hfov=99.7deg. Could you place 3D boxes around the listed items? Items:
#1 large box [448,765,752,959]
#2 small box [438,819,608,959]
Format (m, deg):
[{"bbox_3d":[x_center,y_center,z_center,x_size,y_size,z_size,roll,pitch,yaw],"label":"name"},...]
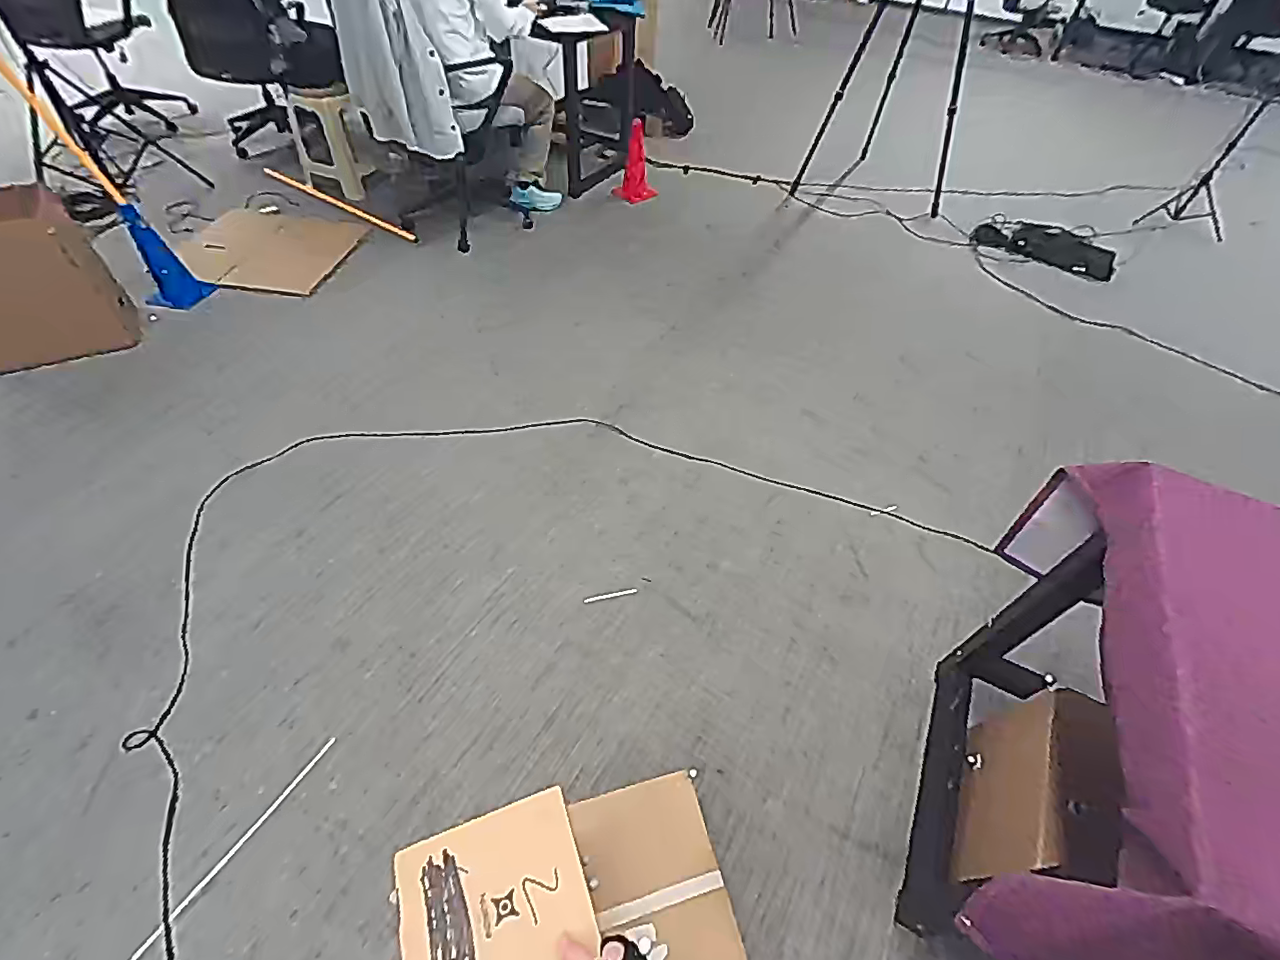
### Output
[{"bbox_3d":[-0.072,0.730,0.894,0.408,0.320,0.320,-10,52,-13],"label":"large box"},{"bbox_3d":[-0.147,0.572,0.701,0.179,0.176,0.168,-14,51,-14],"label":"small box"}]
